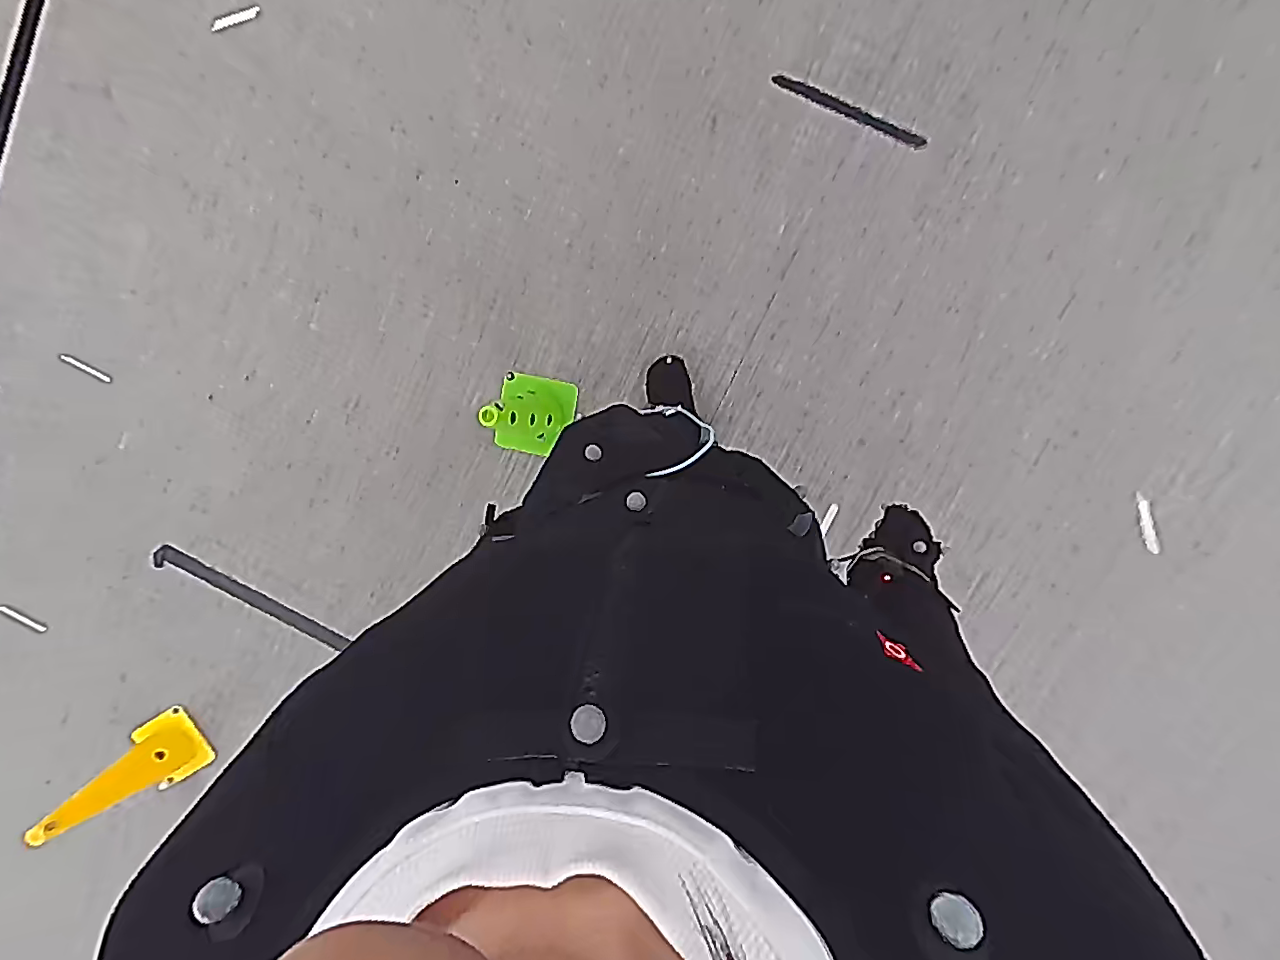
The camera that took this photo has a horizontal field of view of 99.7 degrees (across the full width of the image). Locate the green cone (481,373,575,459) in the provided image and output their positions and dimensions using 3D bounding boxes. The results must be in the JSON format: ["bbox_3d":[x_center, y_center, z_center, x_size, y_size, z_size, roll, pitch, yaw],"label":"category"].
[{"bbox_3d":[-0.289,-0.143,1.243,0.202,0.368,0.200,11,98,2],"label":"green cone"}]
